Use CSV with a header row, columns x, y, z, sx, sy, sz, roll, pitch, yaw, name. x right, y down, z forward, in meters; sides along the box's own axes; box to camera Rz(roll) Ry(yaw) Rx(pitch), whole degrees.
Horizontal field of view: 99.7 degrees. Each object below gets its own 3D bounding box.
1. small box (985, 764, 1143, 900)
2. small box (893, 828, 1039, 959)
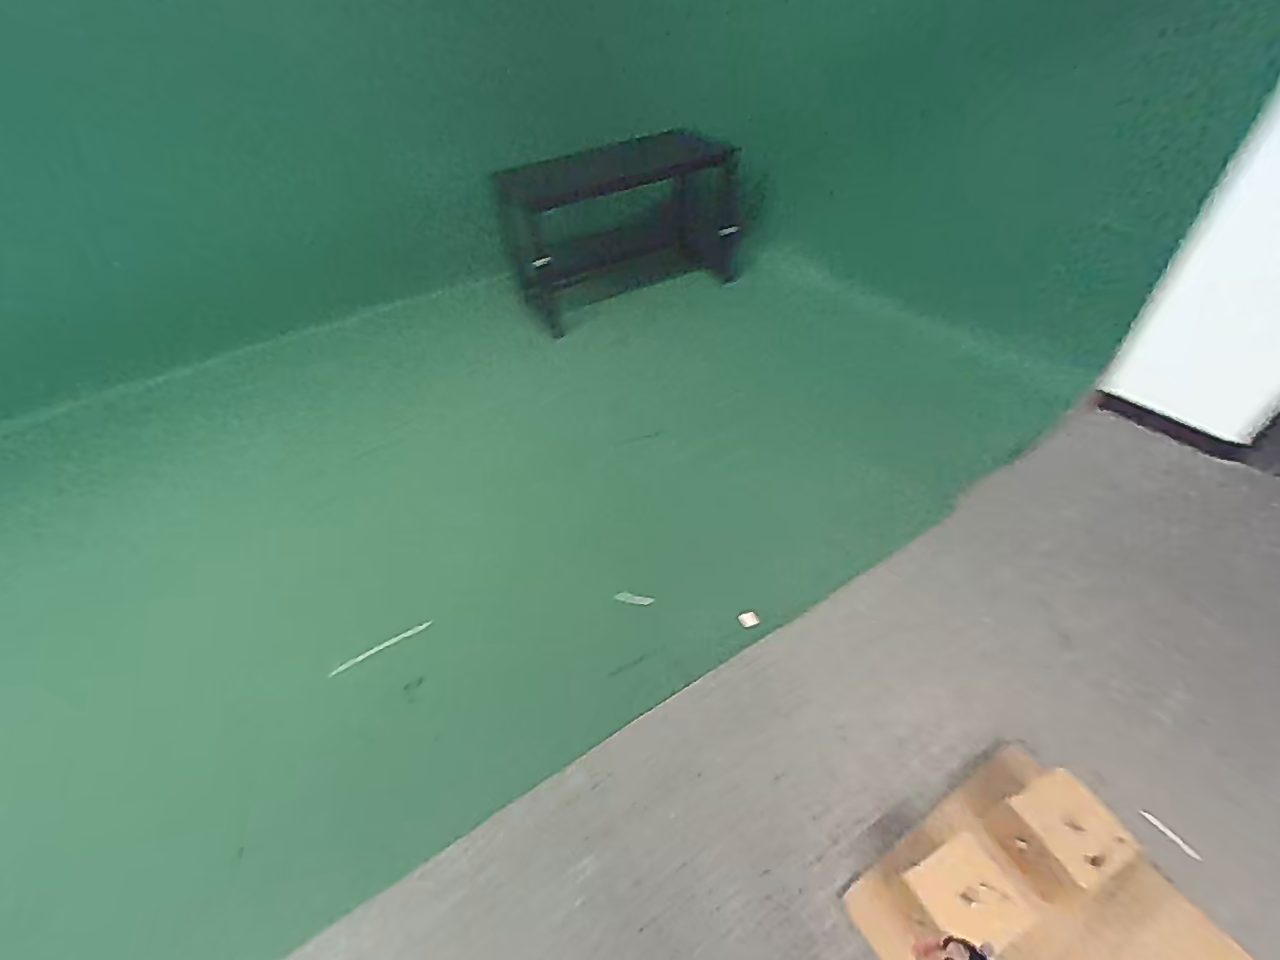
x,y,z,sx,sy,sz,roll,pitch,yaw,name
0.892,0.756,1.159,0.168,0.176,0.179,-20,46,-14,small box
0.640,0.851,1.092,0.179,0.176,0.168,-21,47,-15,small box
